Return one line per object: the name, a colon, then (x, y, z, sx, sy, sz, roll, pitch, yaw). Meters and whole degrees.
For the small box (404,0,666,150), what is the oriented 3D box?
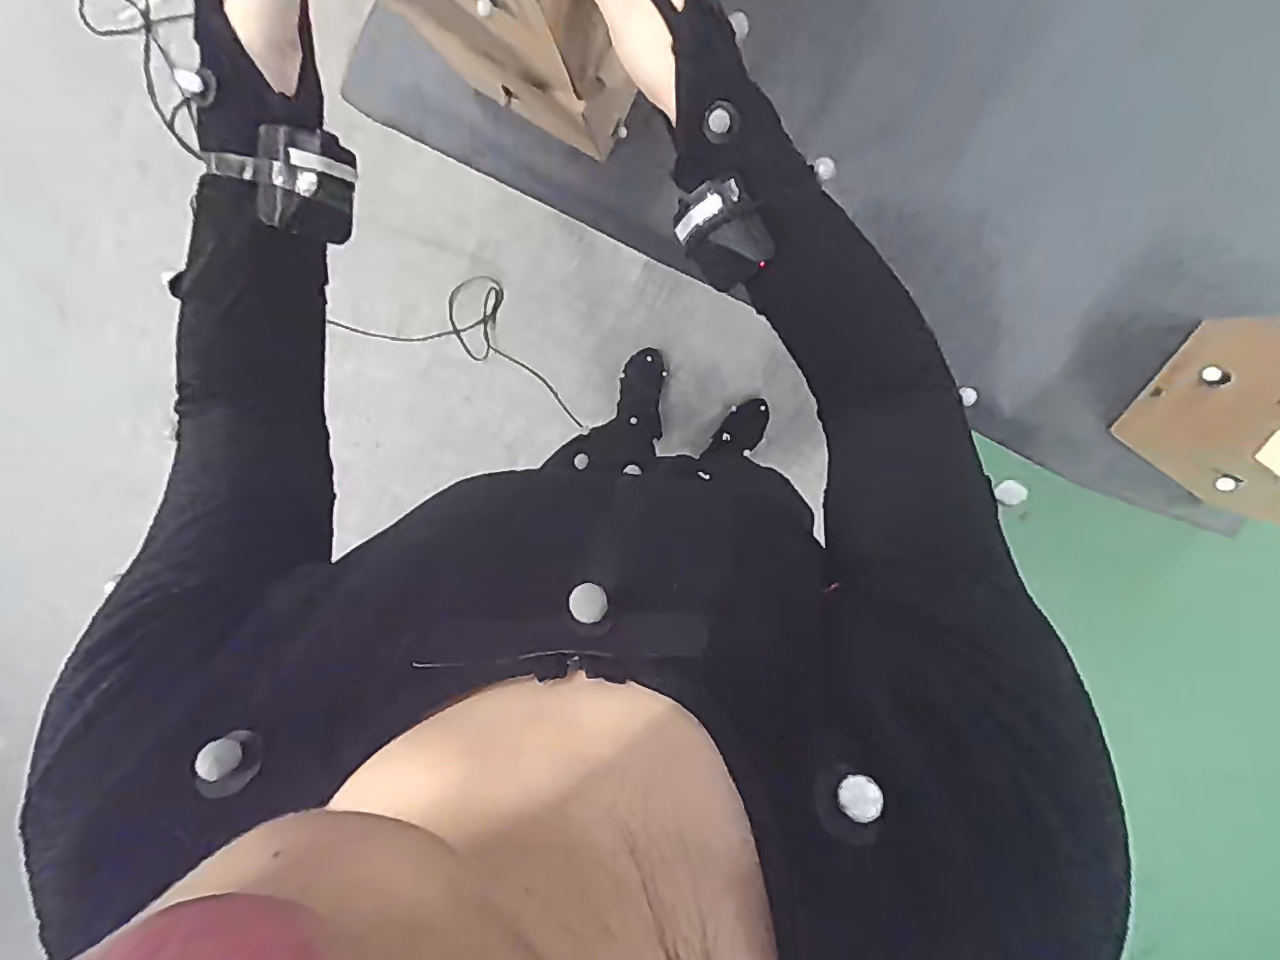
small box: (-0.083, -0.451, 0.519, 0.179, 0.176, 0.168, 28, 107, -5)

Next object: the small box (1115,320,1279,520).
small box: (0.697, -0.061, 0.594, 0.179, 0.176, 0.168, 33, 102, -6)
